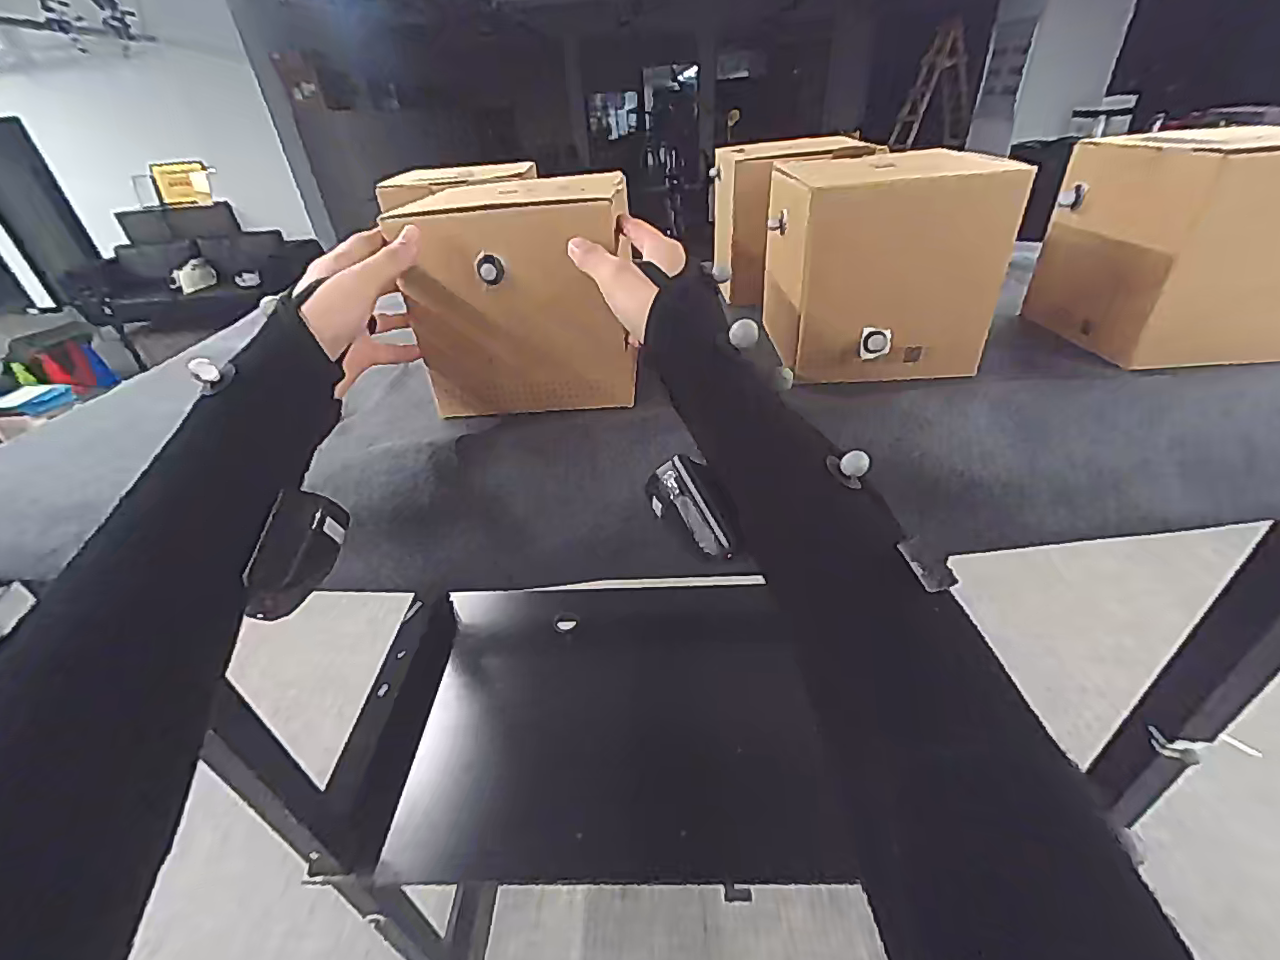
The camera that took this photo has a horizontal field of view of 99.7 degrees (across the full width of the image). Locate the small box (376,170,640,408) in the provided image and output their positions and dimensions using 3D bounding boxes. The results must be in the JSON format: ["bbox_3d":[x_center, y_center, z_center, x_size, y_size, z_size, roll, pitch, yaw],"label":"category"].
[{"bbox_3d":[-0.096,-0.173,0.491,0.179,0.176,0.168,-2,34,4],"label":"small box"}]

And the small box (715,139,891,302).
[{"bbox_3d":[0.195,-0.339,0.705,0.179,0.176,0.168,-2,34,2],"label":"small box"}]

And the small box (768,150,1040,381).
[{"bbox_3d":[0.217,-0.204,0.507,0.168,0.176,0.179,-3,34,4],"label":"small box"}]

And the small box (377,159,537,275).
[{"bbox_3d":[-0.211,-0.313,0.713,0.168,0.176,0.179,-5,34,-1],"label":"small box"}]
